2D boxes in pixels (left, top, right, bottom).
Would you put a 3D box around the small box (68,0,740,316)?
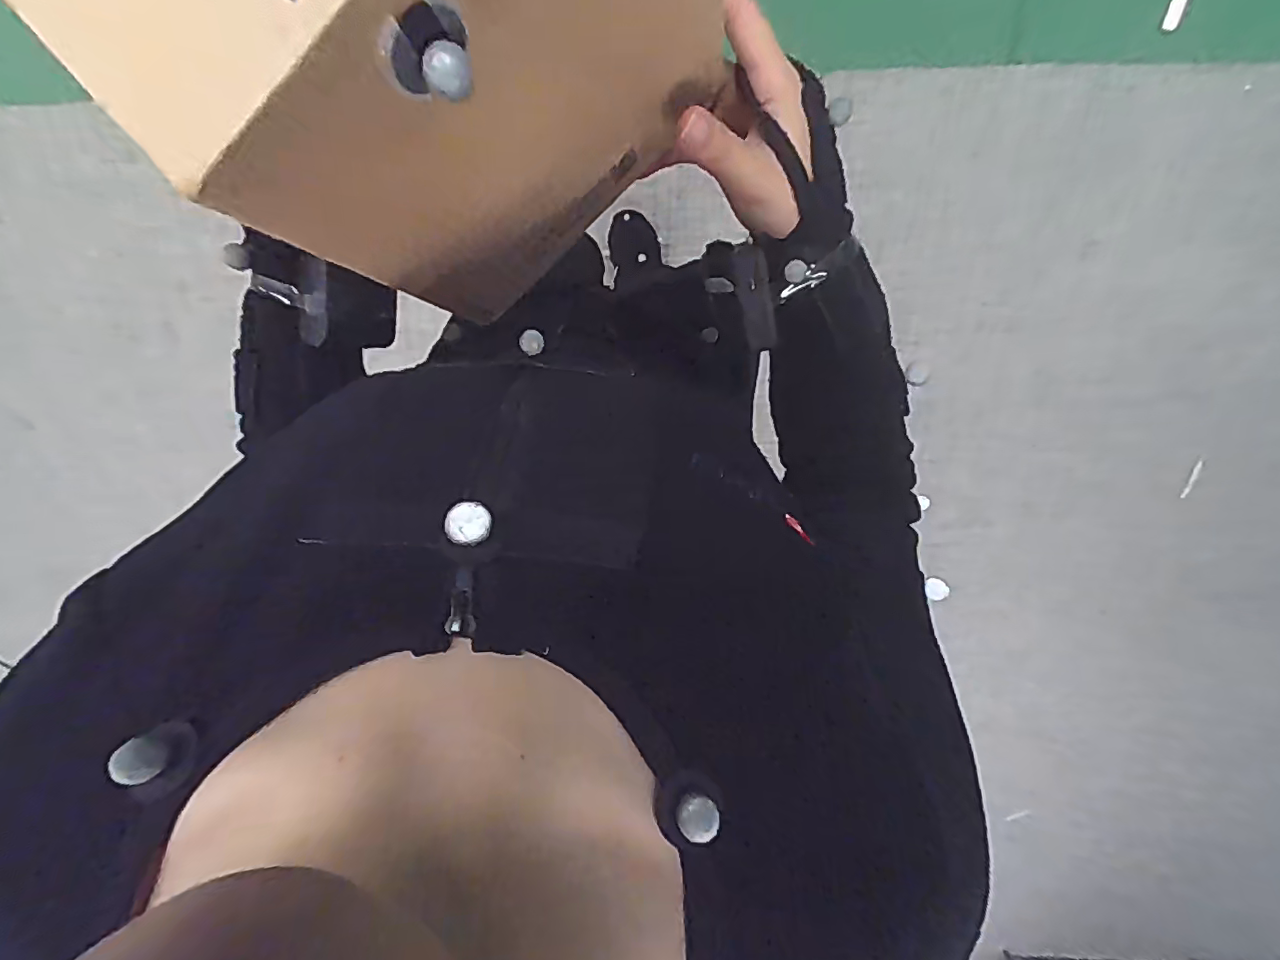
[{"bbox_3d":[-0.079,-0.189,0.203,0.168,0.176,0.179,-42,89,10],"label":"small box"}]
